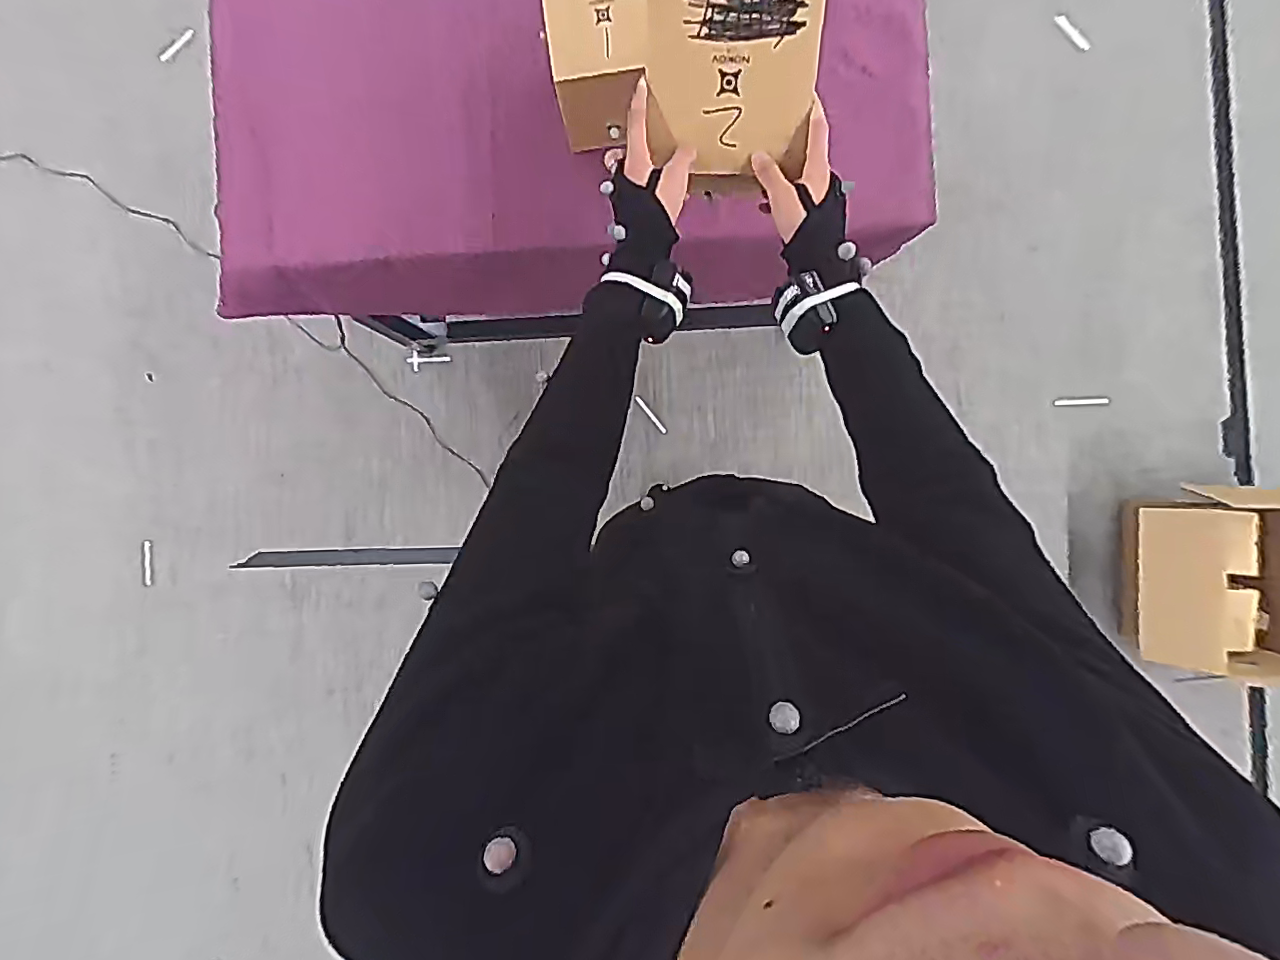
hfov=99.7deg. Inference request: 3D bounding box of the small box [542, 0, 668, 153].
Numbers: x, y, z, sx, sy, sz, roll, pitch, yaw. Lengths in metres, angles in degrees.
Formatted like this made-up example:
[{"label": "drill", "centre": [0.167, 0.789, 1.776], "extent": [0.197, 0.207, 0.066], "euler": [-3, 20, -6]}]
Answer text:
[{"label": "small box", "centre": [-0.051, -0.645, 0.829], "extent": [0.168, 0.176, 0.179], "euler": [-8, 90, 2]}]
